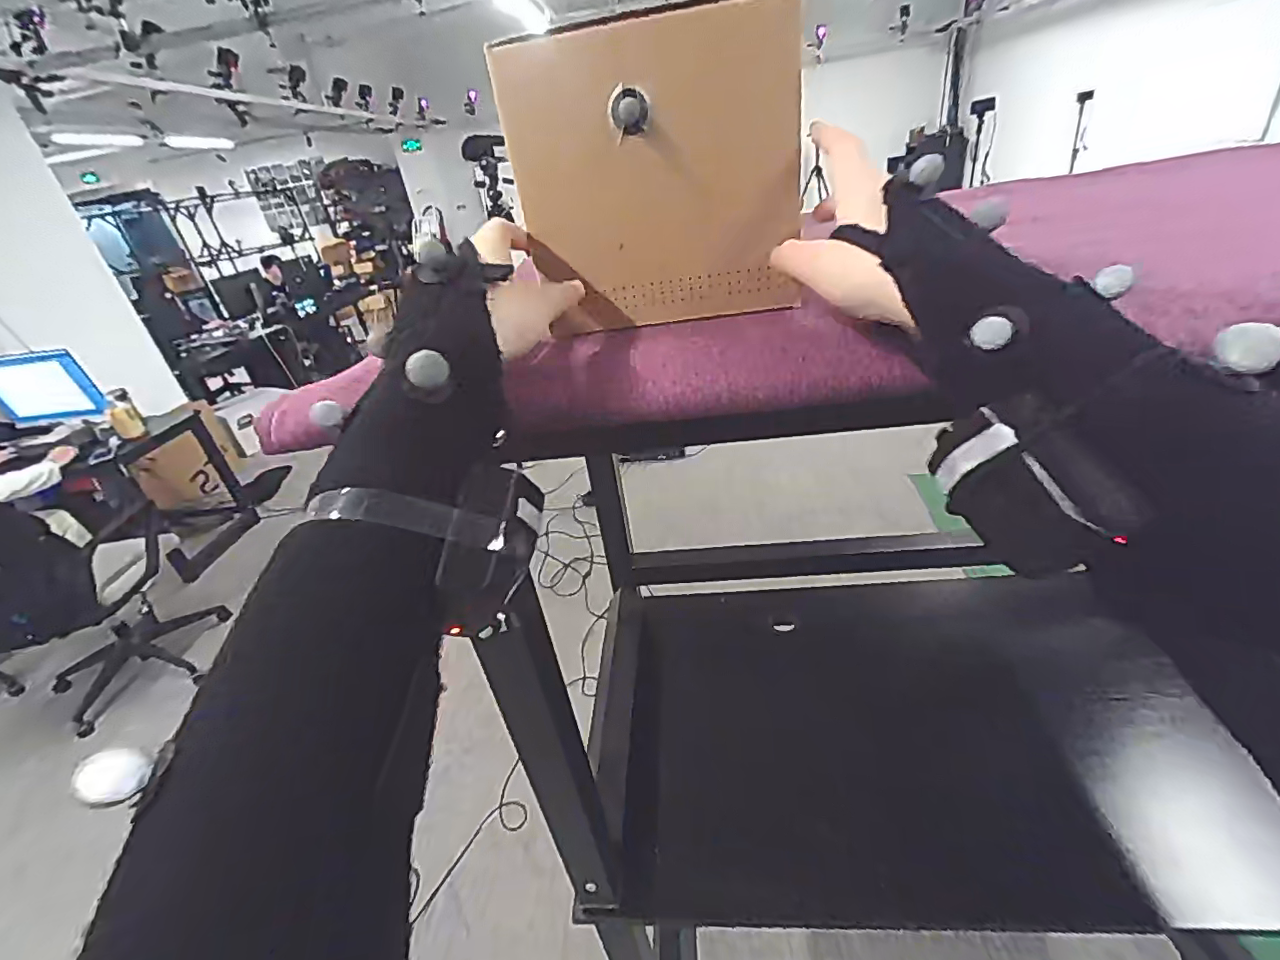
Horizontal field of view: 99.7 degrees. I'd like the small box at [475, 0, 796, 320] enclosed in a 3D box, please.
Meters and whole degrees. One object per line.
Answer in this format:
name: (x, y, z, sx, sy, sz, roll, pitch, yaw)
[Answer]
small box: (0.011, -0.222, 0.388, 0.179, 0.176, 0.168, -5, 32, 7)
